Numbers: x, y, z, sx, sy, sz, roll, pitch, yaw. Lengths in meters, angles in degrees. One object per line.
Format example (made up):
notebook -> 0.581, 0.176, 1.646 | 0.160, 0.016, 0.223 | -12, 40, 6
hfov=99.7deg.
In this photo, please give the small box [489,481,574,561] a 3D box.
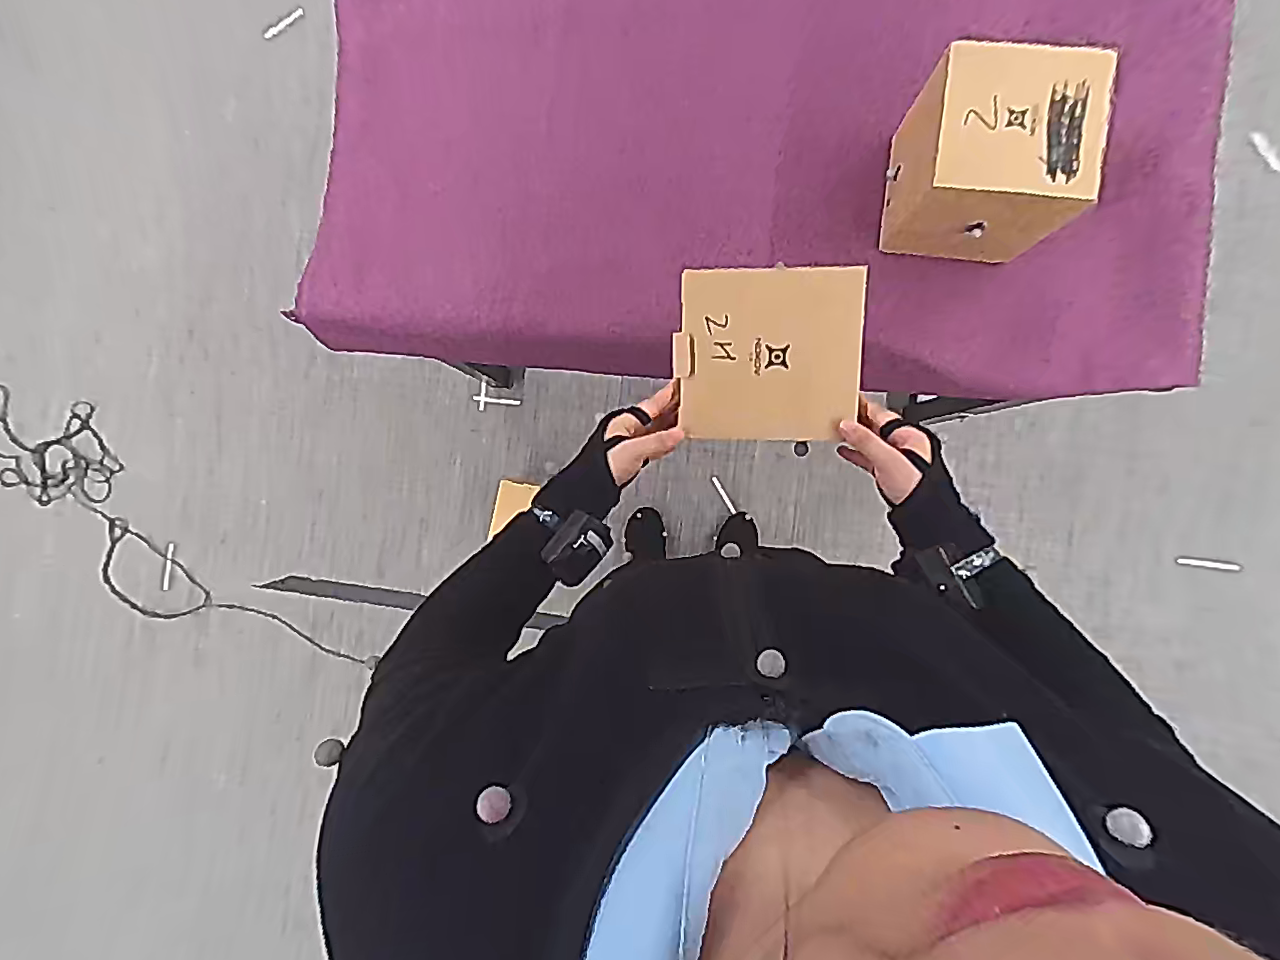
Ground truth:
small box -> -0.281, 0.103, 1.442 | 0.168, 0.176, 0.179 | 12, 91, 3
